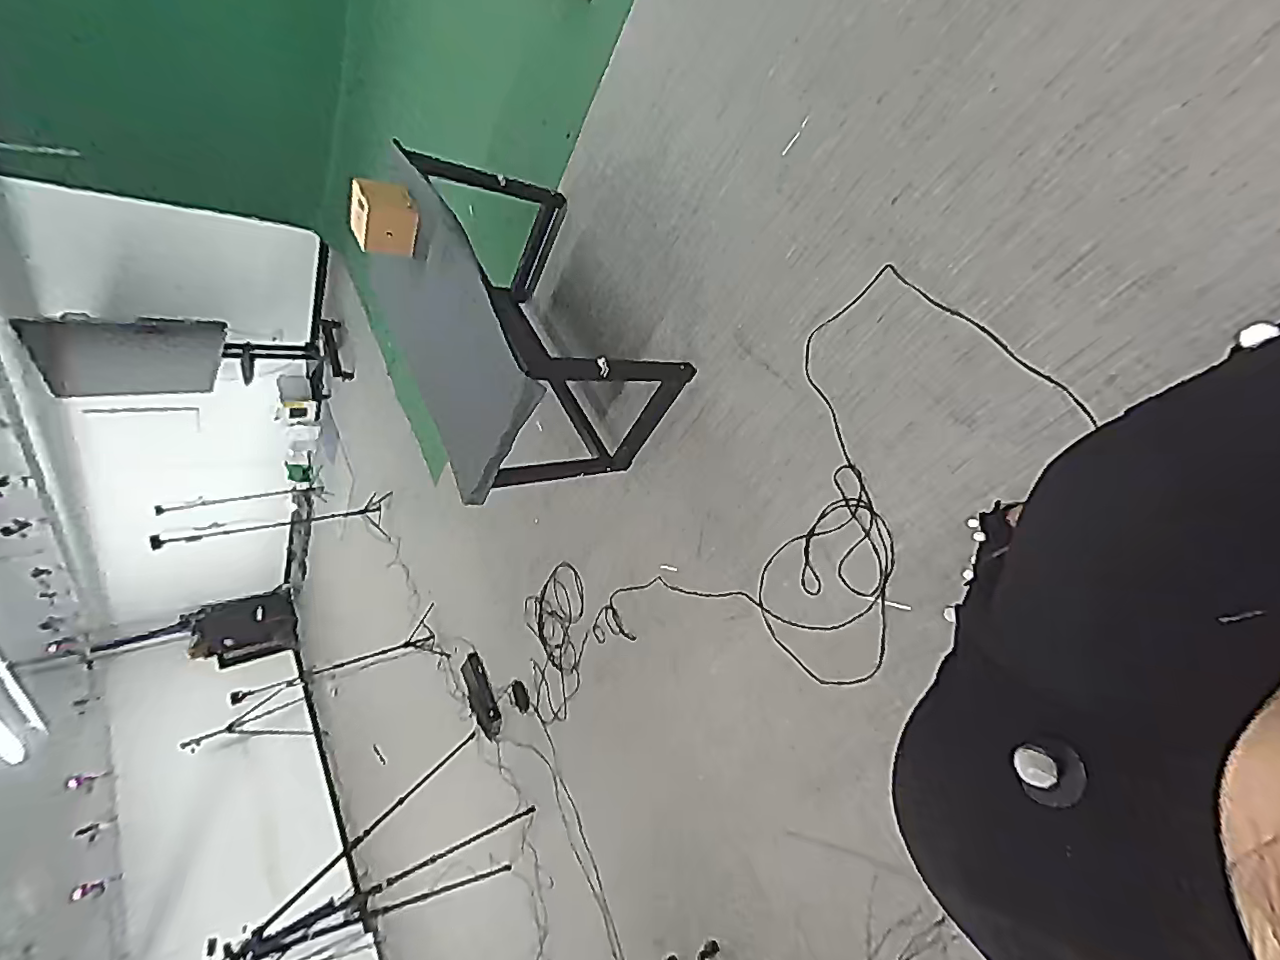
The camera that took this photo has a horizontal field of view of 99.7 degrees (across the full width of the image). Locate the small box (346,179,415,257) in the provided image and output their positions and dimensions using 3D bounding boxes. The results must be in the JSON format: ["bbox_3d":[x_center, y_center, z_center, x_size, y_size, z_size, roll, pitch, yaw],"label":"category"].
[{"bbox_3d":[-0.905,-0.909,1.888,0.168,0.176,0.179,57,136,23],"label":"small box"}]
